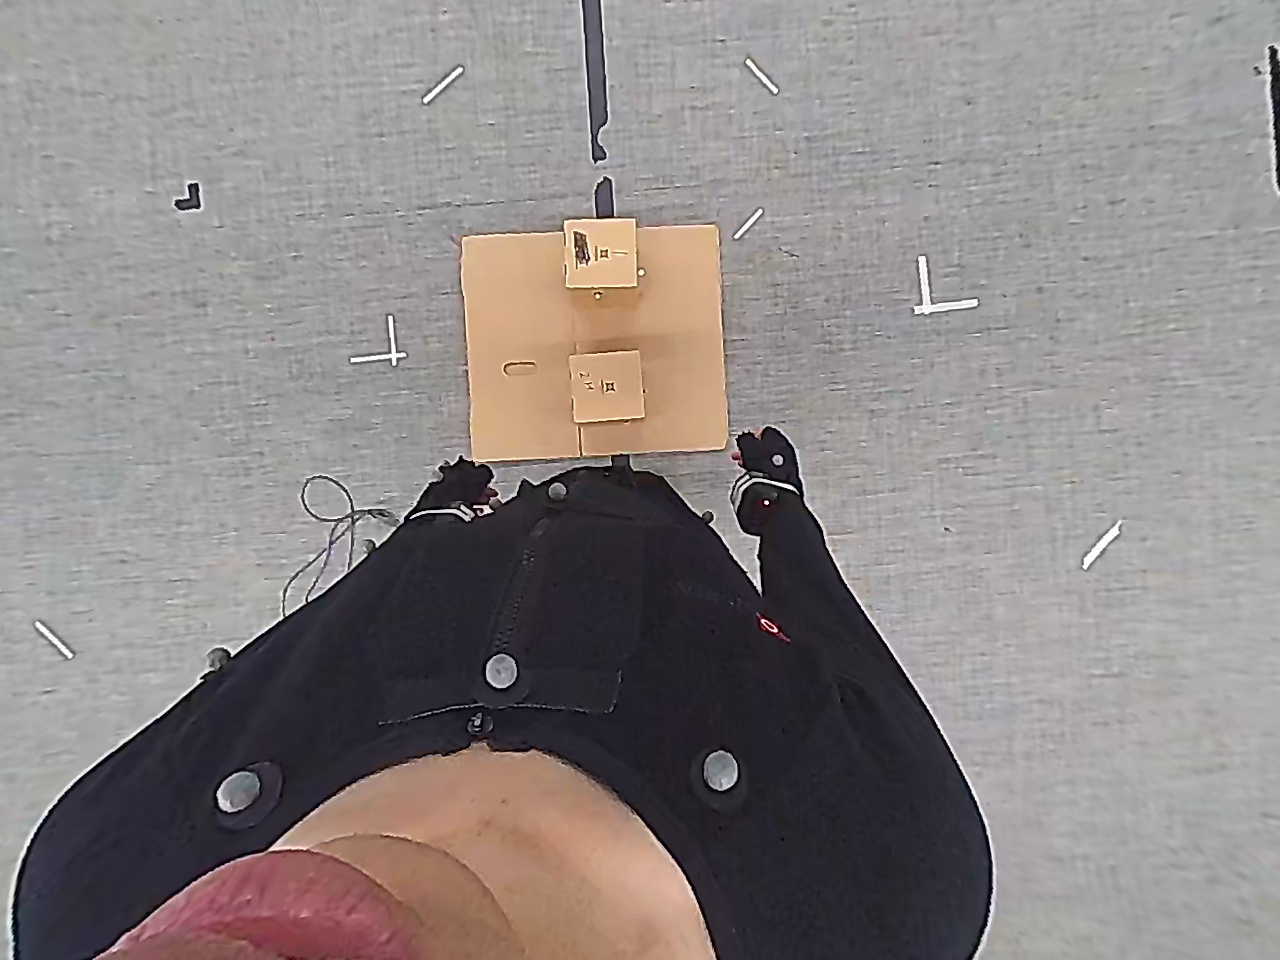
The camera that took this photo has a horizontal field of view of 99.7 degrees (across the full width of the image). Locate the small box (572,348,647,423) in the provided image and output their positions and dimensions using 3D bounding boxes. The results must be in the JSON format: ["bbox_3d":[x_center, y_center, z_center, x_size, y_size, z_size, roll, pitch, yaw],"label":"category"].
[{"bbox_3d":[-0.074,-0.239,1.394,0.179,0.176,0.168,-4,91,2],"label":"small box"}]

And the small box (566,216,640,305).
[{"bbox_3d":[-0.090,-0.556,1.387,0.179,0.176,0.168,-1,91,0],"label":"small box"}]
